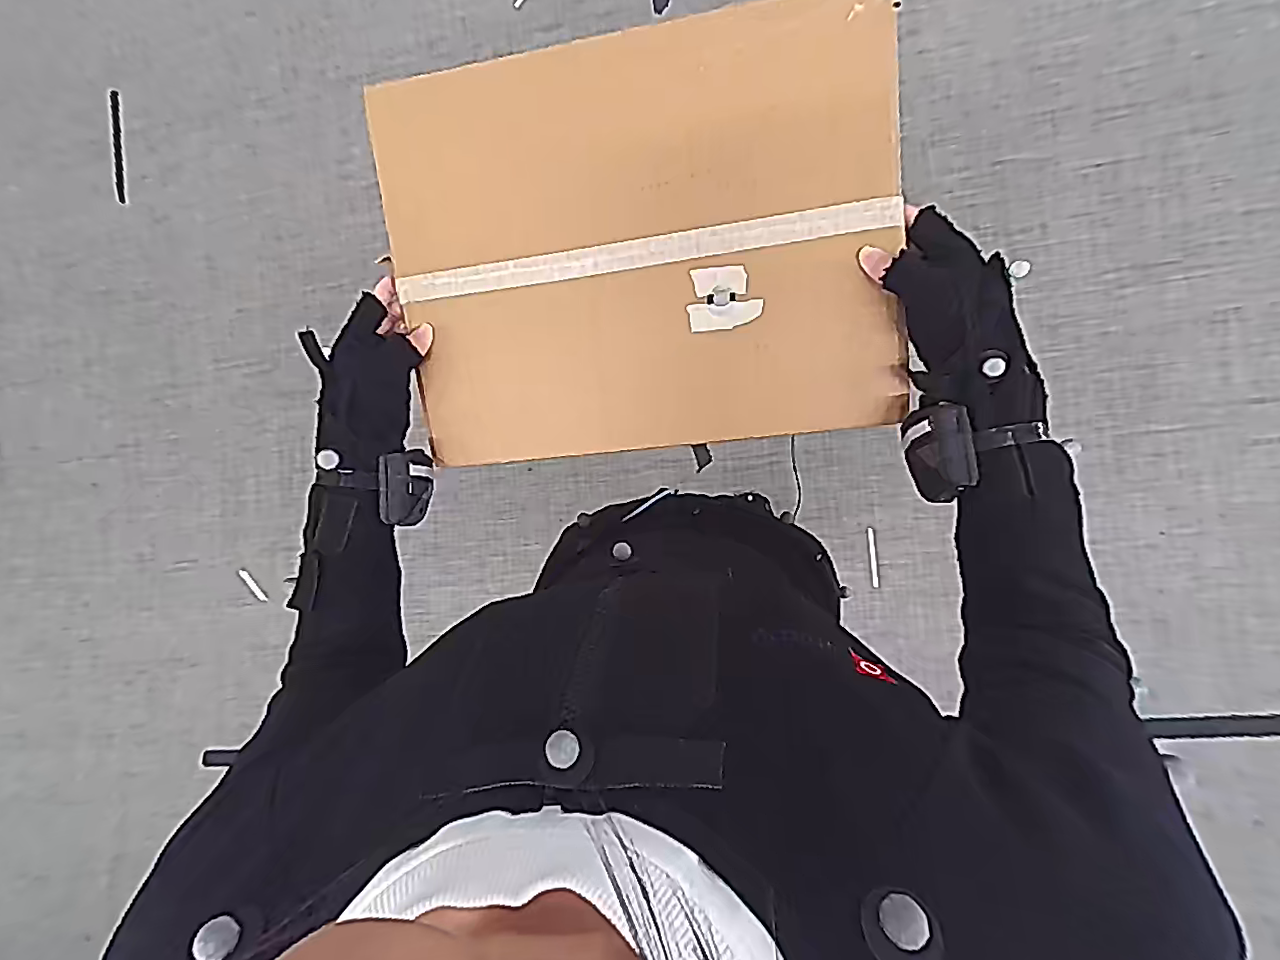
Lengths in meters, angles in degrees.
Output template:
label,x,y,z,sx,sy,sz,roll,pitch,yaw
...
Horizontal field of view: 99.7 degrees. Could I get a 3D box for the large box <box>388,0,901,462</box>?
label,x,y,z,sx,sy,sz,roll,pitch,yaw
large box,0.018,-0.213,0.592,0.408,0.320,0.320,-5,100,9
